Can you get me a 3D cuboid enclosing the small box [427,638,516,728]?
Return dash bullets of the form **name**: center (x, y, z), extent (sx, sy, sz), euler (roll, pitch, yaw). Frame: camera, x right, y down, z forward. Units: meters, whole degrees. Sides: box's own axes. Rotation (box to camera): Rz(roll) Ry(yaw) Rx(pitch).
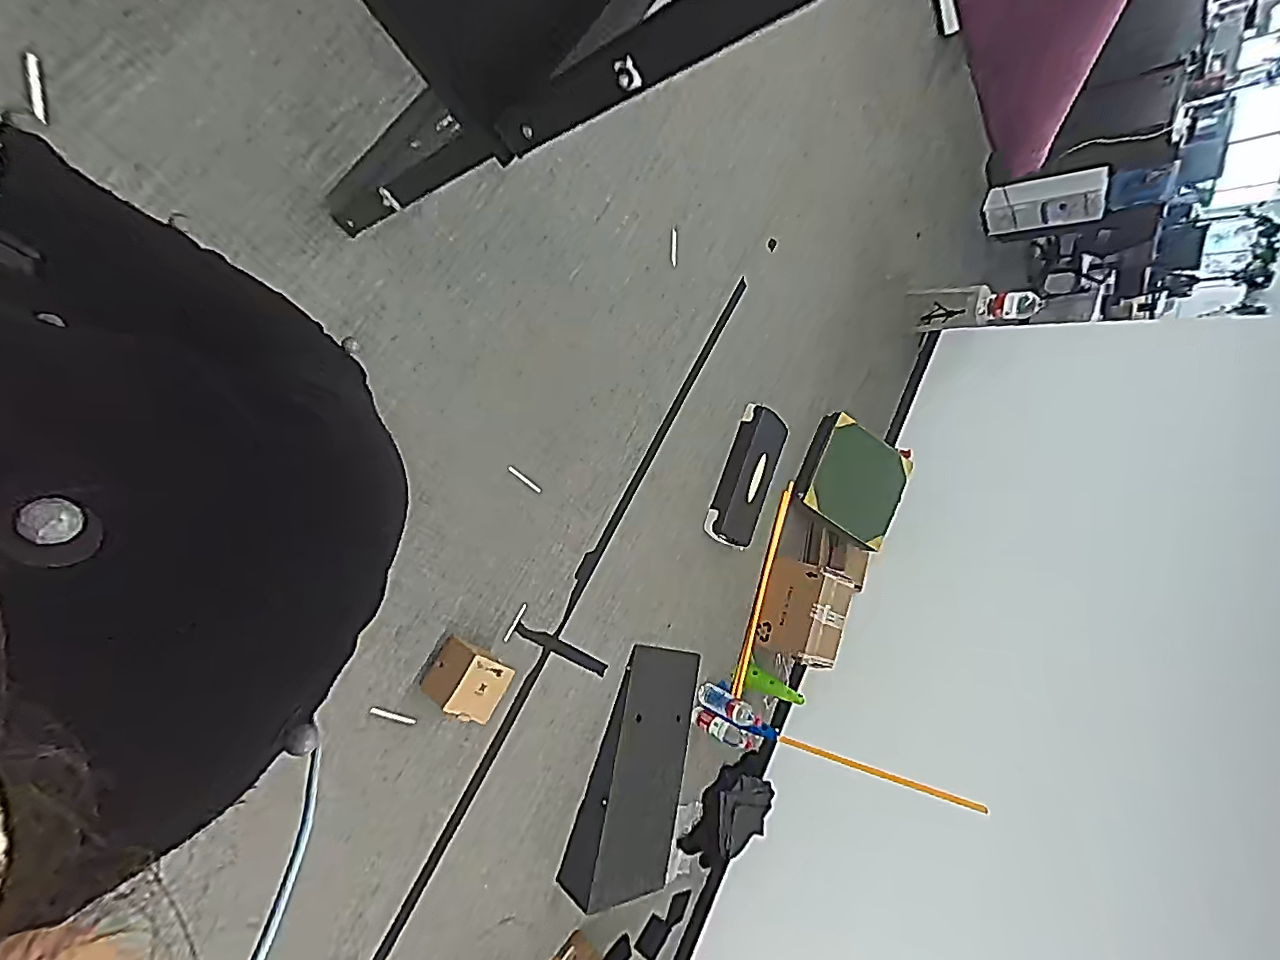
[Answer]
- **small box**: center (-0.519, 0.613, 1.642), extent (0.168, 0.176, 0.179), euler (45, 68, -40)
